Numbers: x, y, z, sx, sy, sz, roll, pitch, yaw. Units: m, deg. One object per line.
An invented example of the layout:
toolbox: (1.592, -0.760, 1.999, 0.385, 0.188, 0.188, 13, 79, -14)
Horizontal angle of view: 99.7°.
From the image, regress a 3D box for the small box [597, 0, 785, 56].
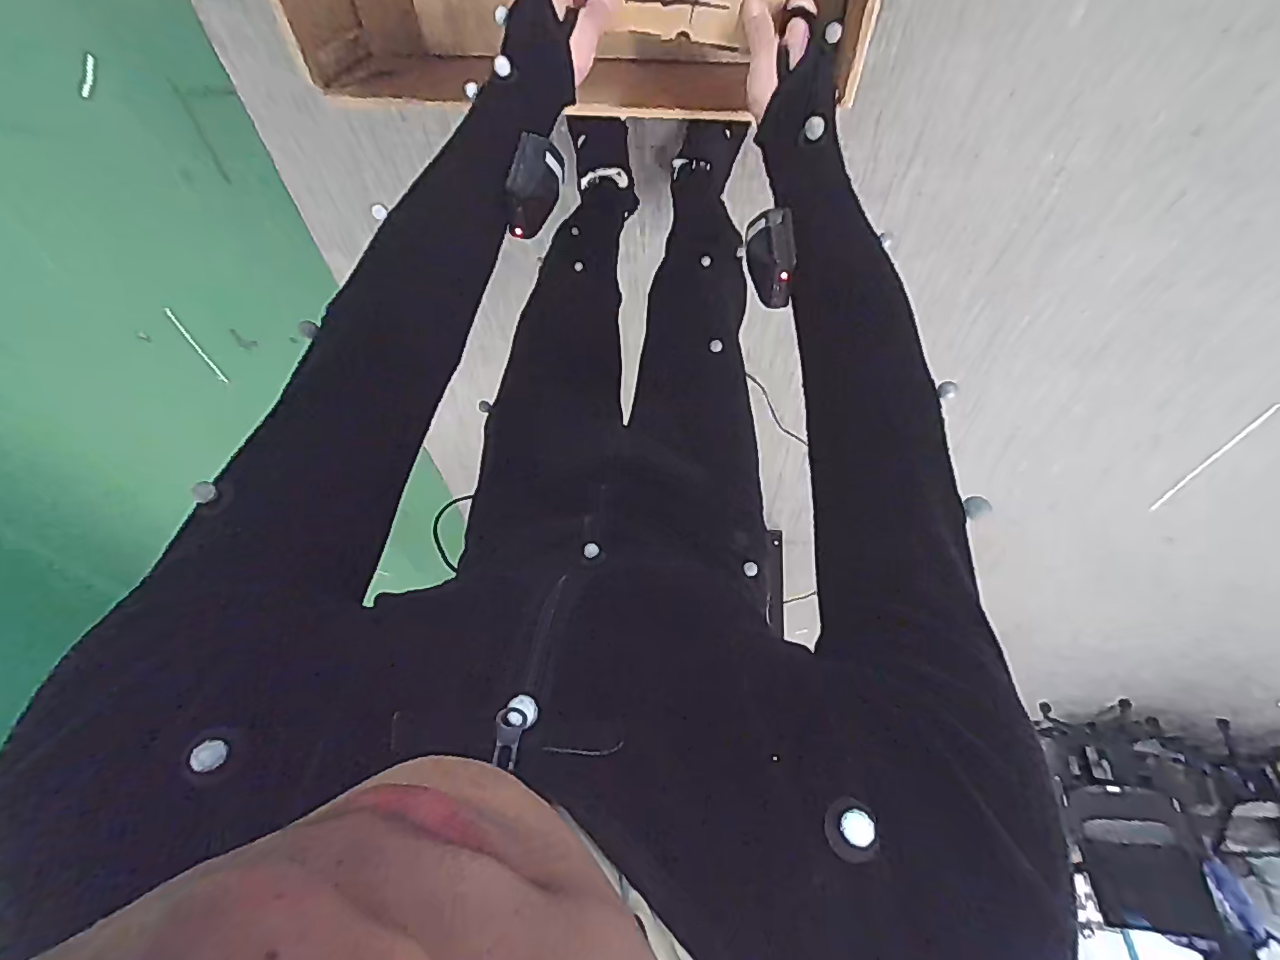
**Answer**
small box: (0.061, -0.512, 0.465, 0.168, 0.176, 0.179, 10, 145, 0)
